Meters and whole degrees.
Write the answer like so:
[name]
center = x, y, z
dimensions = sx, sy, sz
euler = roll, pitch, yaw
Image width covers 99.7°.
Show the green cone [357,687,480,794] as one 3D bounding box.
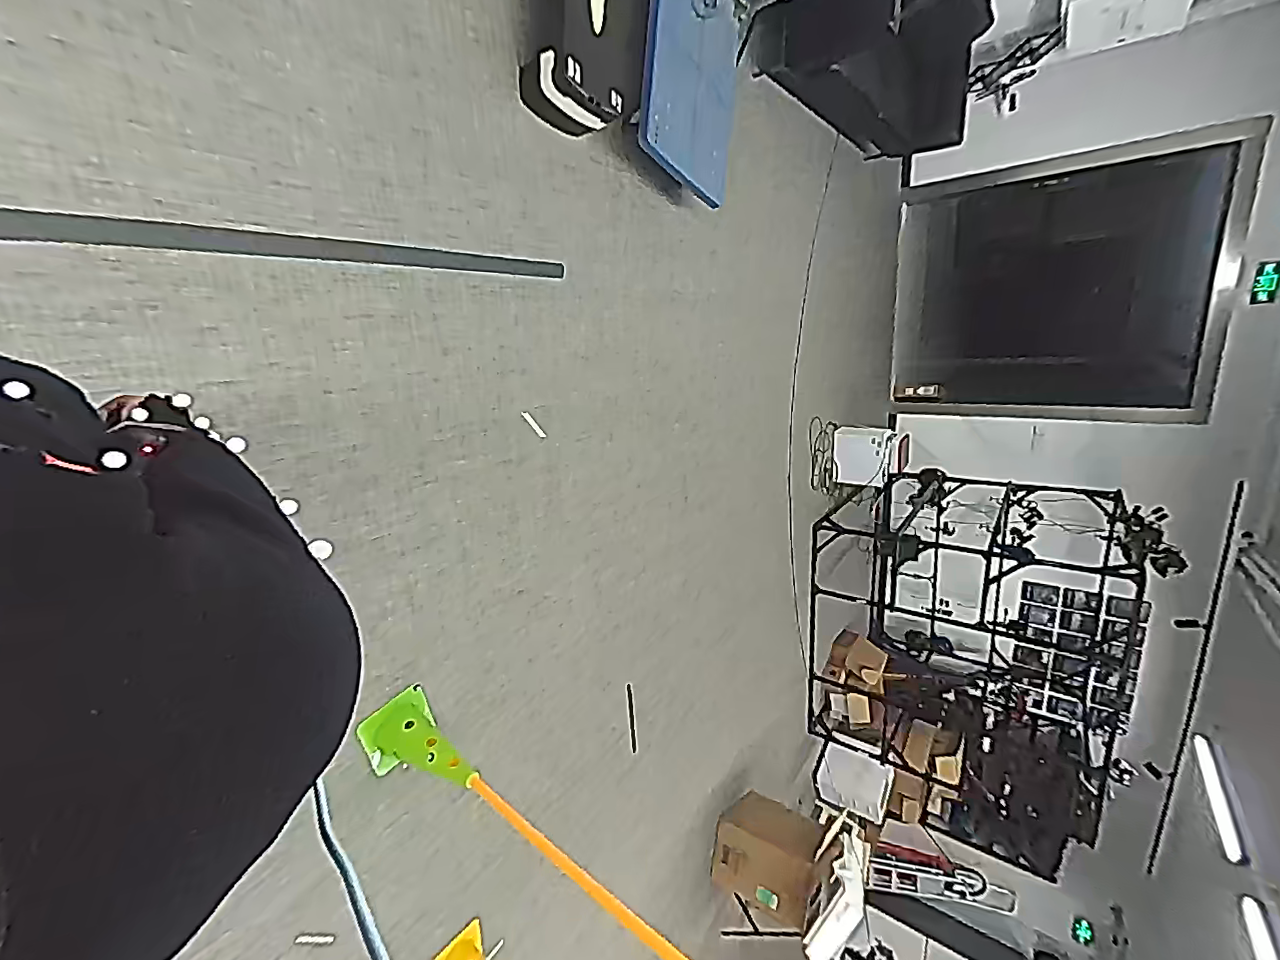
[green cone]
center = -0.569, 0.753, 1.472
dimensions = 0.200, 0.368, 0.202
euler = -35, 125, -45
